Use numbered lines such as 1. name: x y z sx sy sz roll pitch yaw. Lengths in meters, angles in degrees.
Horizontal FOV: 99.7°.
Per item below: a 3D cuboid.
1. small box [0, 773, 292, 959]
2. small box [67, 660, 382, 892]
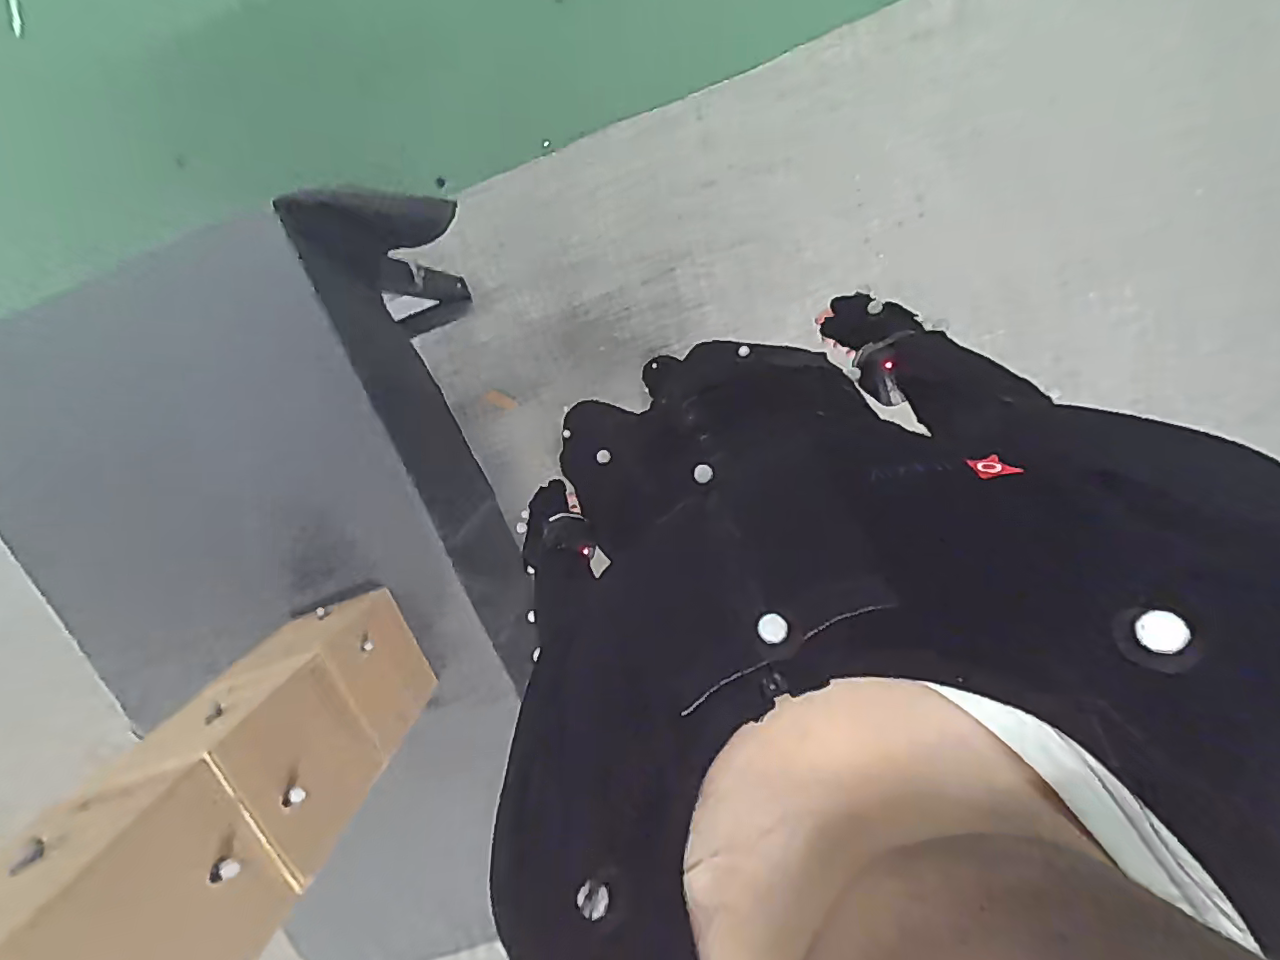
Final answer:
1. small box: -0.432 0.367 0.429 0.168 0.176 0.179 -19 103 6
2. small box: -0.424 0.321 0.587 0.168 0.176 0.179 -20 103 7
